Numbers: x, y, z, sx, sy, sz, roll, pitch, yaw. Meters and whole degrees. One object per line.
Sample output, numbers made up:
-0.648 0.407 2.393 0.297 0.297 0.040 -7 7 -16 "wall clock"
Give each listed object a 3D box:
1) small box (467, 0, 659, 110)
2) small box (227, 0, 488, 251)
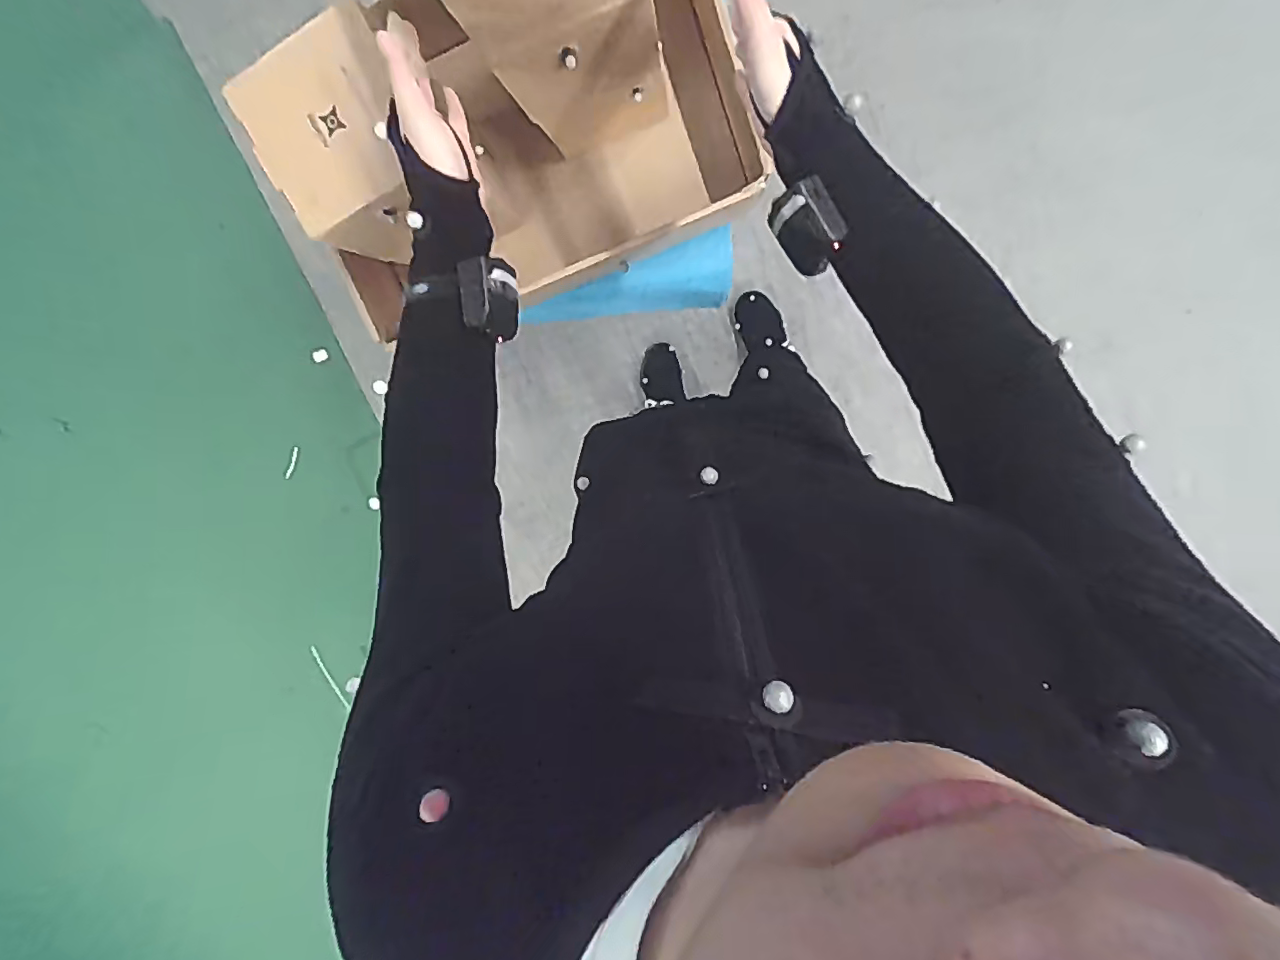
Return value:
-0.086 -0.535 0.574 0.179 0.176 0.168 -15 104 9 "small box"
-0.311 -0.391 0.635 0.179 0.176 0.168 -24 102 10 "small box"
